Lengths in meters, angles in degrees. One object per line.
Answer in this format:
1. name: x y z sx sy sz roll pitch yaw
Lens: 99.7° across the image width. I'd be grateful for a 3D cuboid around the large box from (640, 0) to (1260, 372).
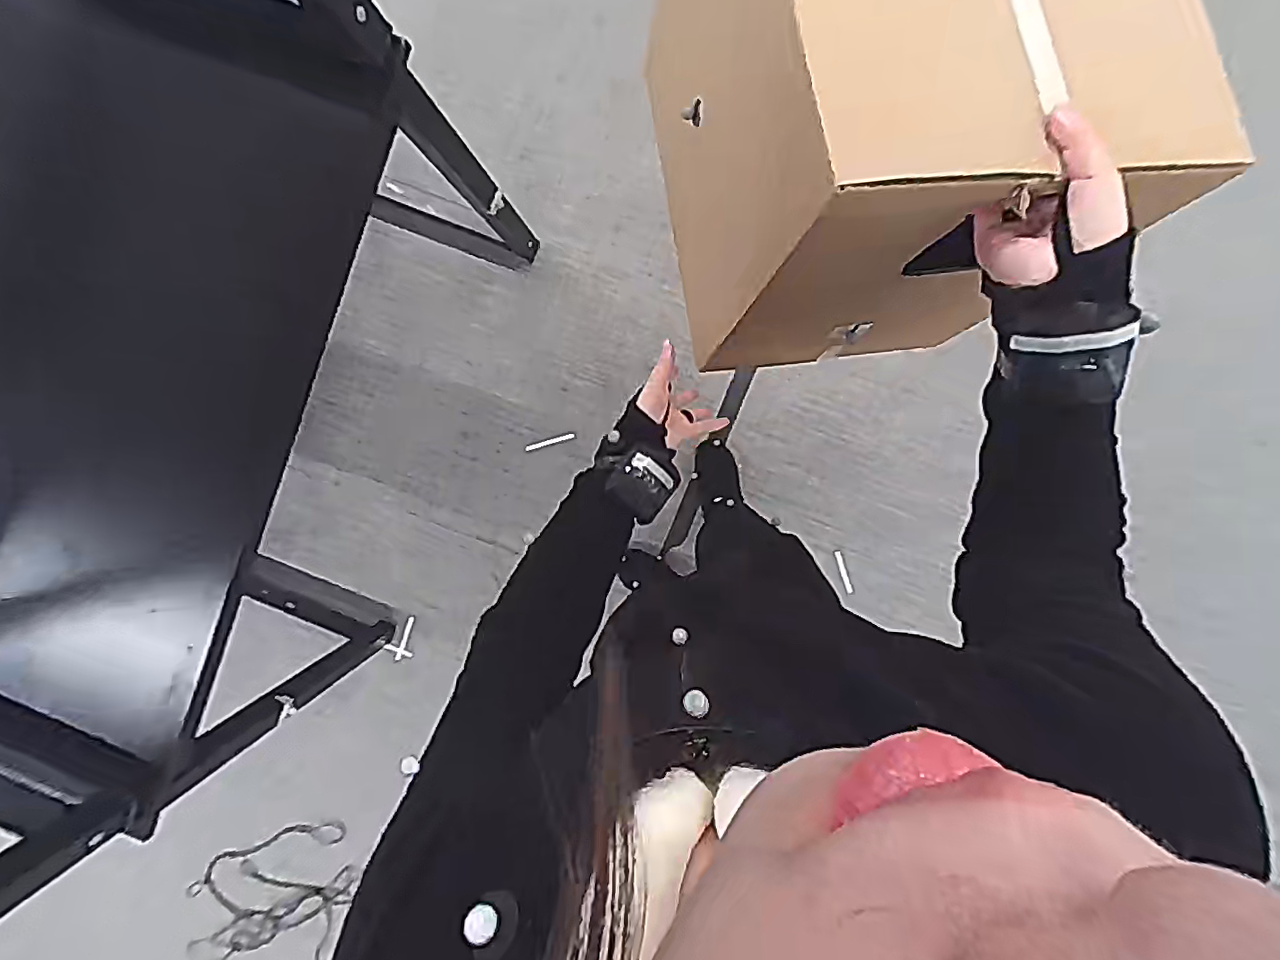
1. large box: 0.200 -0.355 0.497 0.320 0.320 0.408 -9 82 -11
